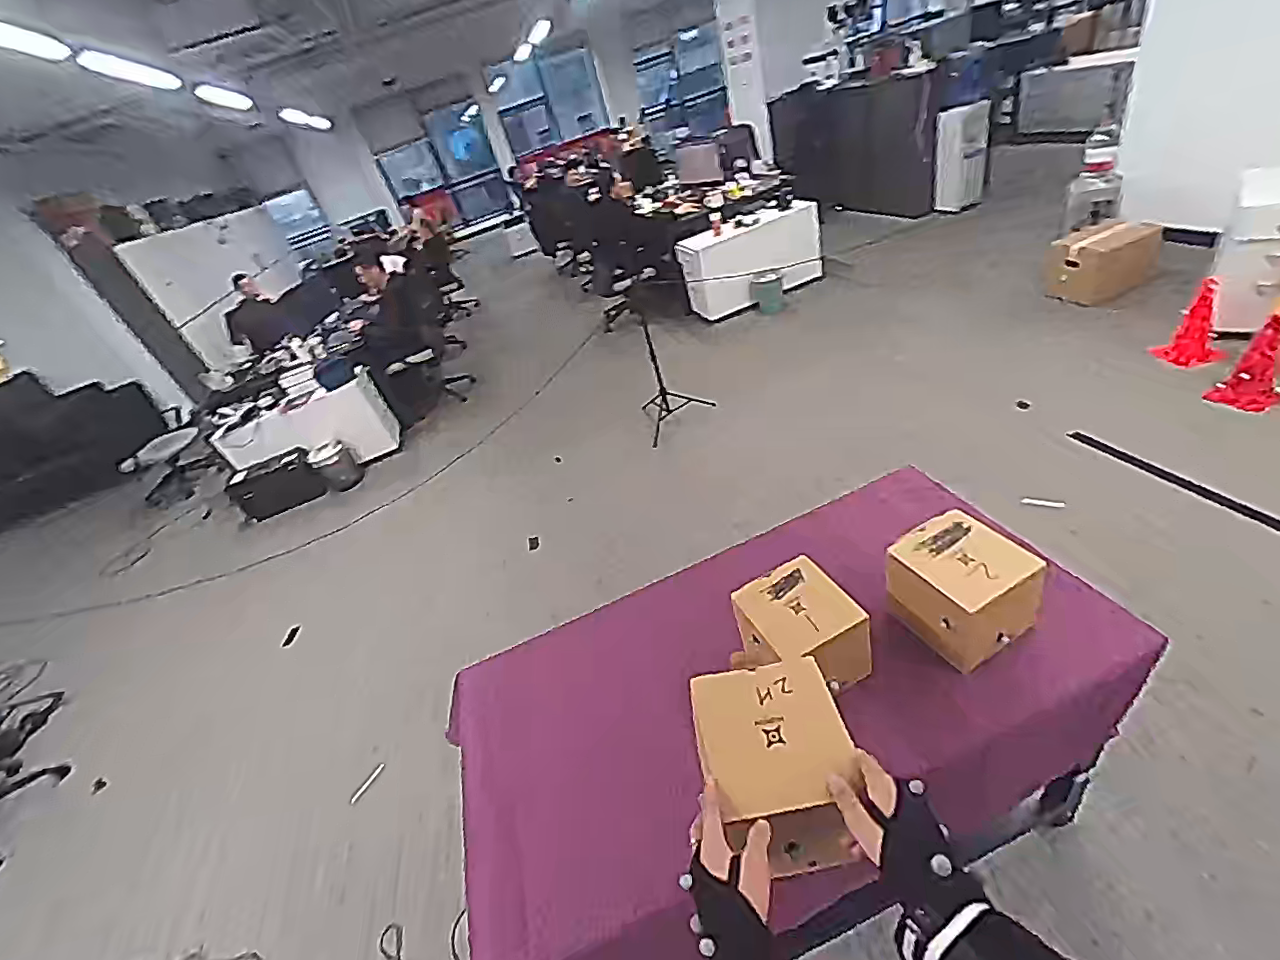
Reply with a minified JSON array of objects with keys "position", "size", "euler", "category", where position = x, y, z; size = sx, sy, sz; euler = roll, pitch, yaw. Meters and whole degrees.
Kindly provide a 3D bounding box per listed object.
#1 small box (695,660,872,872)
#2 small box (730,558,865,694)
[{"position":[0.171,0.363,0.684],"size":[0.168,0.176,0.179],"euler":[-9,33,-1],"category":"small box"},{"position":[0.289,0.282,0.992],"size":[0.168,0.176,0.179],"euler":[-27,36,-10],"category":"small box"}]
